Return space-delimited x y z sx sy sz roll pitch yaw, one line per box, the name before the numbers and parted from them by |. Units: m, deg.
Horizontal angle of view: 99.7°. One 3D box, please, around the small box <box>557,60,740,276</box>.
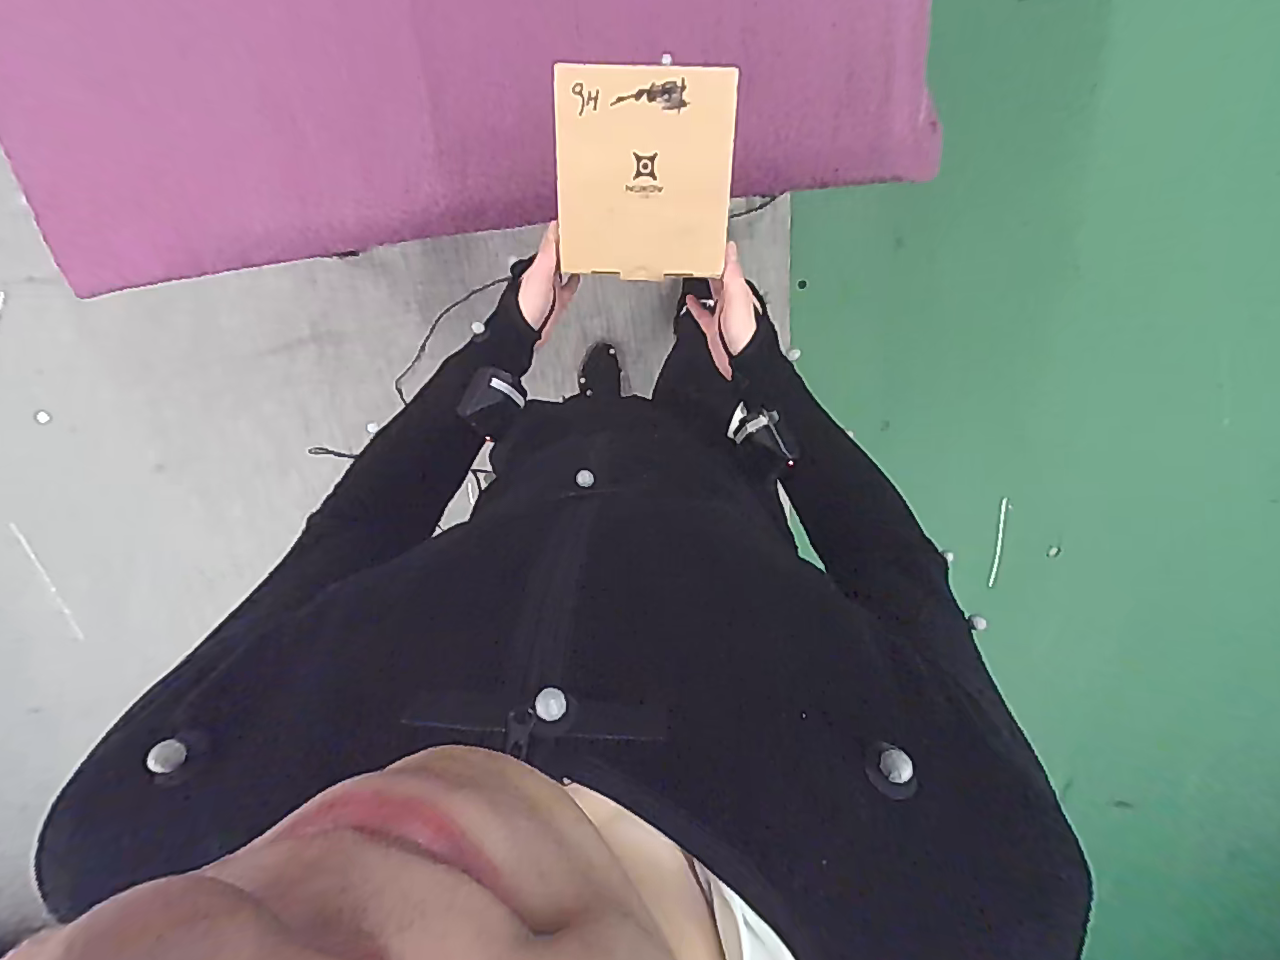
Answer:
small box | 0.006 -0.320 0.582 0.168 0.176 0.179 1 113 0
